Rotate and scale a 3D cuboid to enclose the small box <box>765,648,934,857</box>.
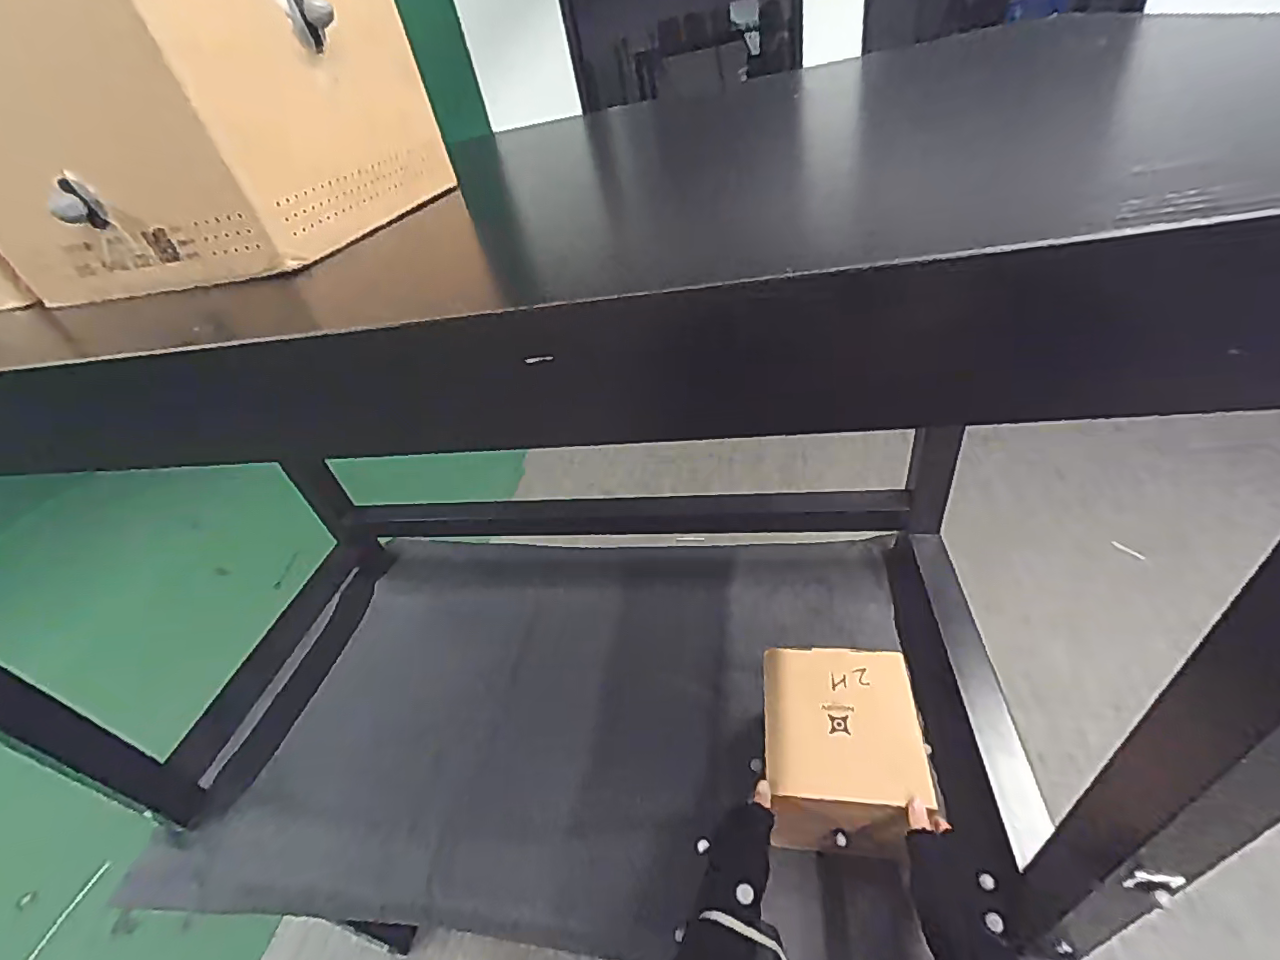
[{"bbox_3d":[0.240,0.330,0.661,0.168,0.176,0.179,-2,40,13],"label":"small box"}]
